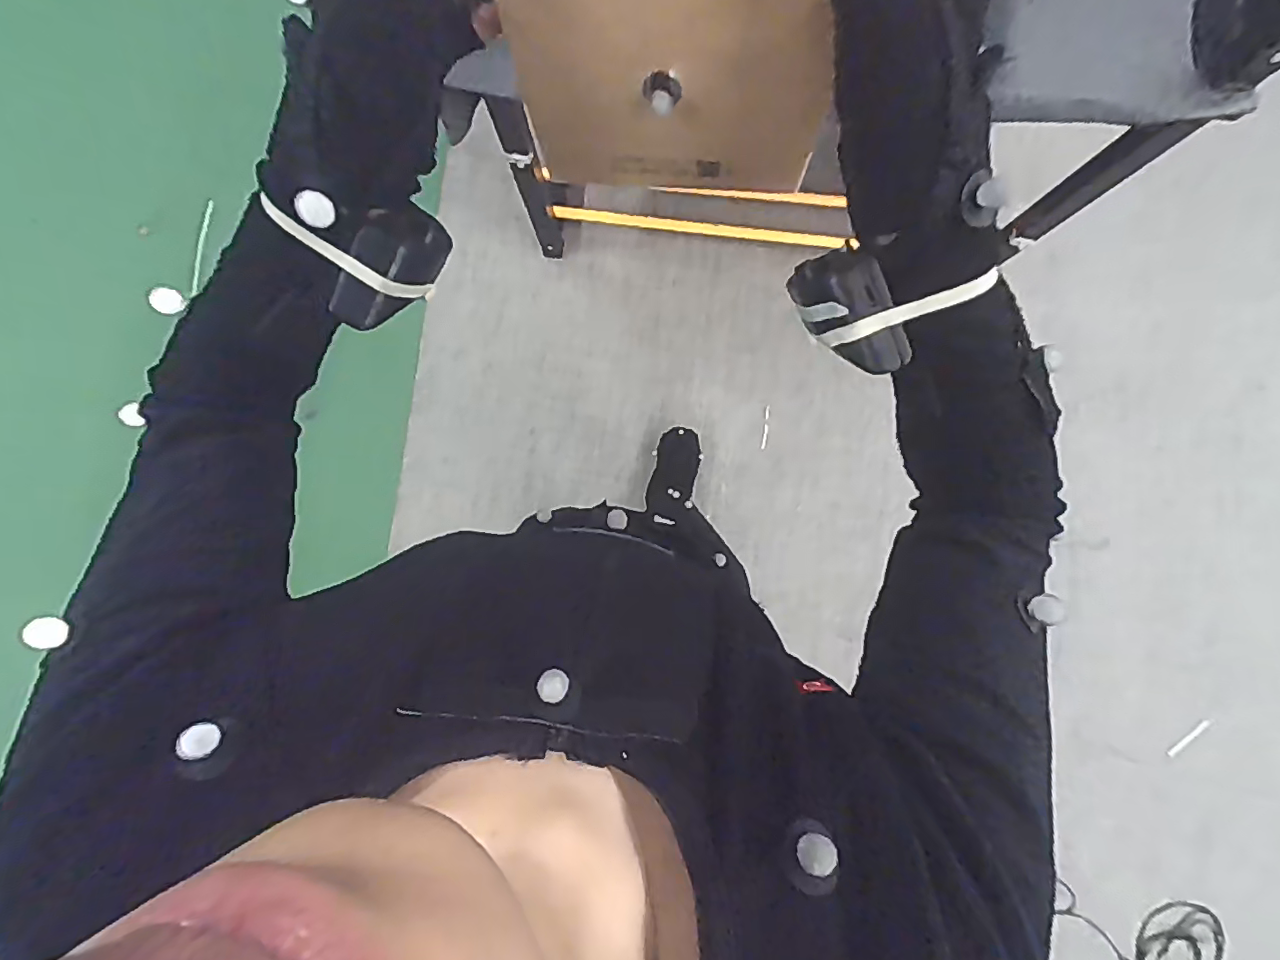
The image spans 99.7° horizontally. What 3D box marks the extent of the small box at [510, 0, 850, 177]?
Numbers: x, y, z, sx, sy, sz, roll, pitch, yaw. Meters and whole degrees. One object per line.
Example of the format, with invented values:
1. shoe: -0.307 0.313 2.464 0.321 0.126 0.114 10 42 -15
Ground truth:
1. small box: 0.028 -0.298 0.293 0.168 0.176 0.179 5 82 3
